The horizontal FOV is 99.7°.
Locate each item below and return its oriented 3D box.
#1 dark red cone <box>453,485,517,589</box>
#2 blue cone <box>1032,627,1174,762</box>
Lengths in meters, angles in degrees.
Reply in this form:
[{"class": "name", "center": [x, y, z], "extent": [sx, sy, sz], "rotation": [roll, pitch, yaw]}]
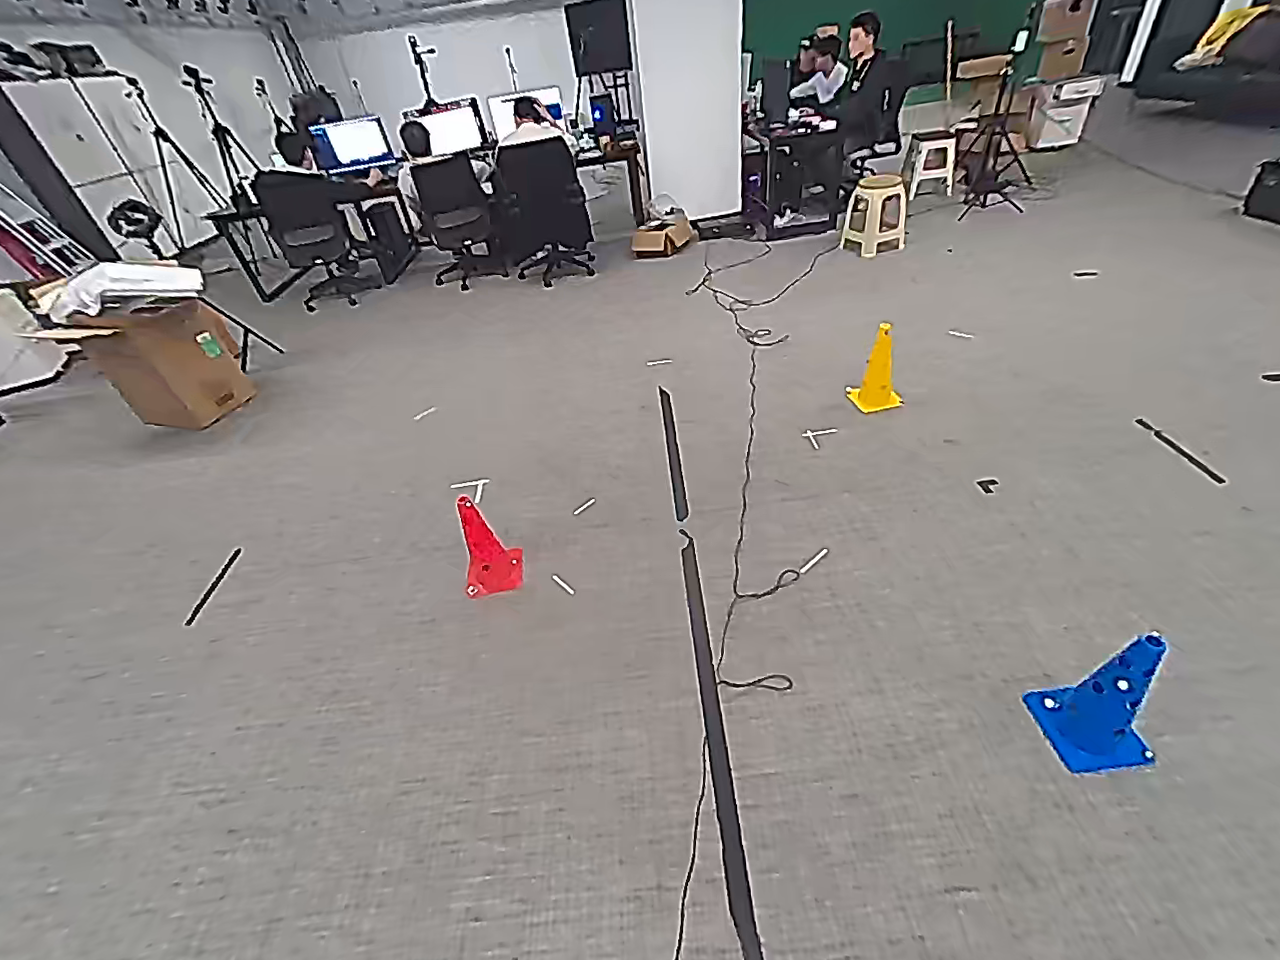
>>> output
[{"class": "dark red cone", "center": [-0.558, 0.179, 1.837], "extent": [0.201, 0.394, 0.202], "rotation": [-12, 38, -4]}, {"class": "blue cone", "center": [1.060, 0.454, 1.199], "extent": [0.192, 0.380, 0.193], "rotation": [-7, 39, 2]}]
